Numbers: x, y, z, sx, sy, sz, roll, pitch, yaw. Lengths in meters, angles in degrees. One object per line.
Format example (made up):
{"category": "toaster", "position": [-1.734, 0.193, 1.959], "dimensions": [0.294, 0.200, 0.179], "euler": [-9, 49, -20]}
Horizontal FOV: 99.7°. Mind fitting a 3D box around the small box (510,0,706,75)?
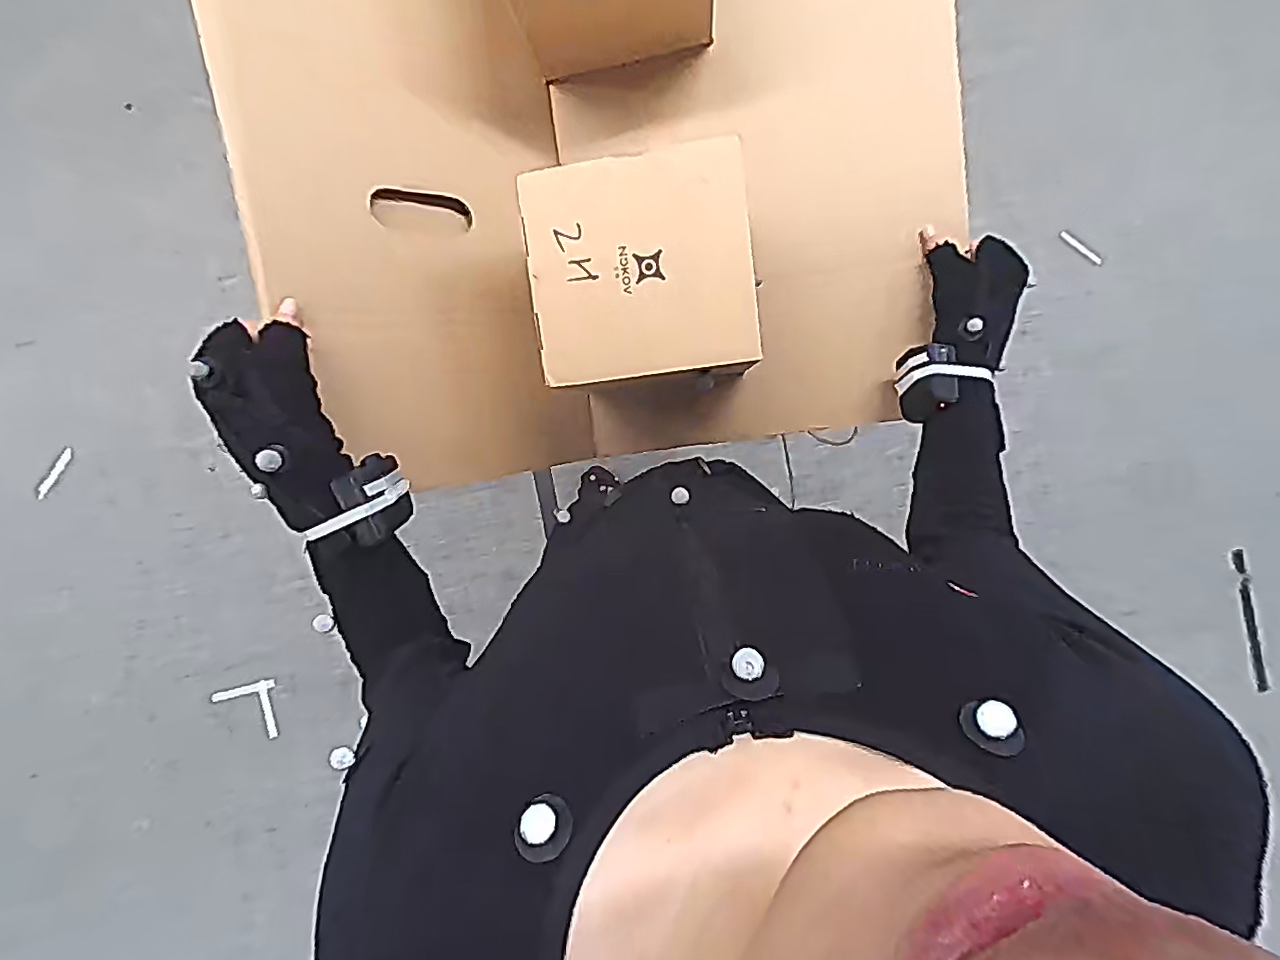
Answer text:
{"category": "small box", "position": [-0.038, -0.494, 0.466], "dimensions": [0.179, 0.176, 0.168], "euler": [-8, 97, 7]}
